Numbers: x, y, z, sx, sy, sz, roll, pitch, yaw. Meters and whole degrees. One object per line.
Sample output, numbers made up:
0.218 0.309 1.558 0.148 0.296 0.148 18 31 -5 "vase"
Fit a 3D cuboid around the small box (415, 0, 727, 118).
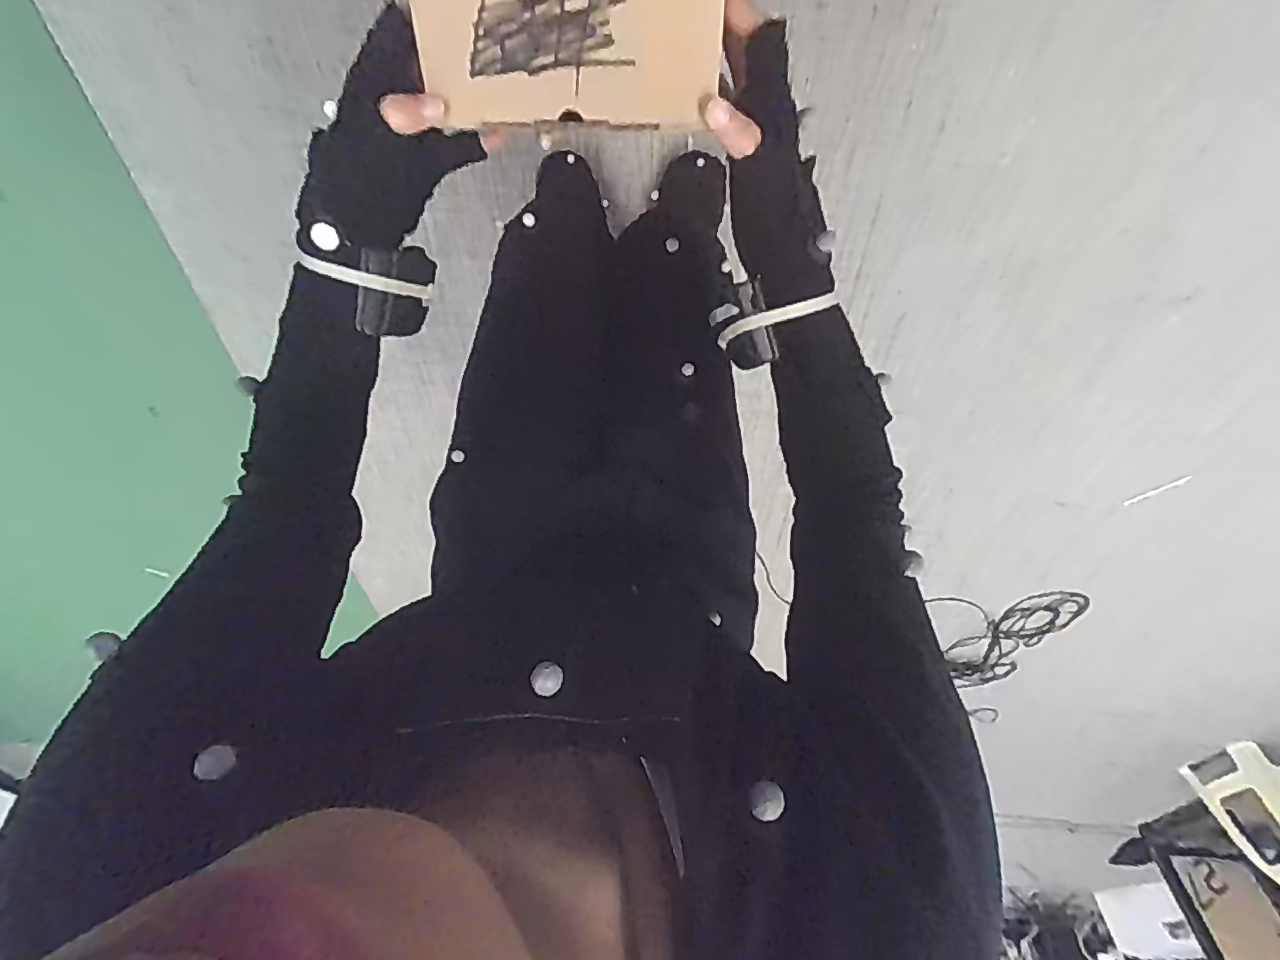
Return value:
-0.028 -0.324 0.323 0.168 0.176 0.179 3 122 4 "small box"
